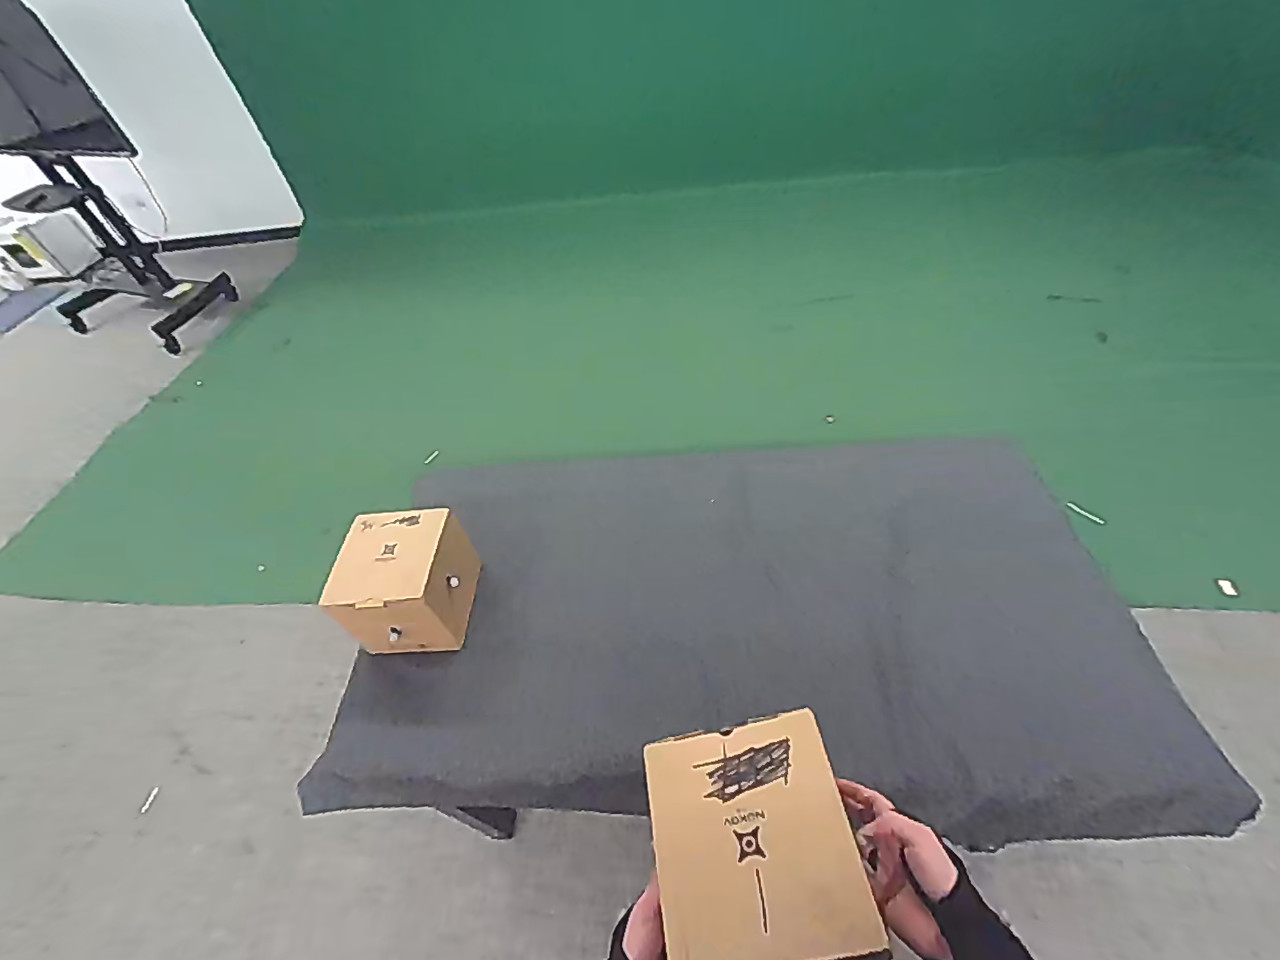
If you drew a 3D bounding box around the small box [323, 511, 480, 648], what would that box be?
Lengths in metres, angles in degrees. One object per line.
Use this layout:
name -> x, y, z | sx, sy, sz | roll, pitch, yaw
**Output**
small box -> -0.385, 0.174, 0.913 | 0.168, 0.176, 0.179 | -3, 49, 4
